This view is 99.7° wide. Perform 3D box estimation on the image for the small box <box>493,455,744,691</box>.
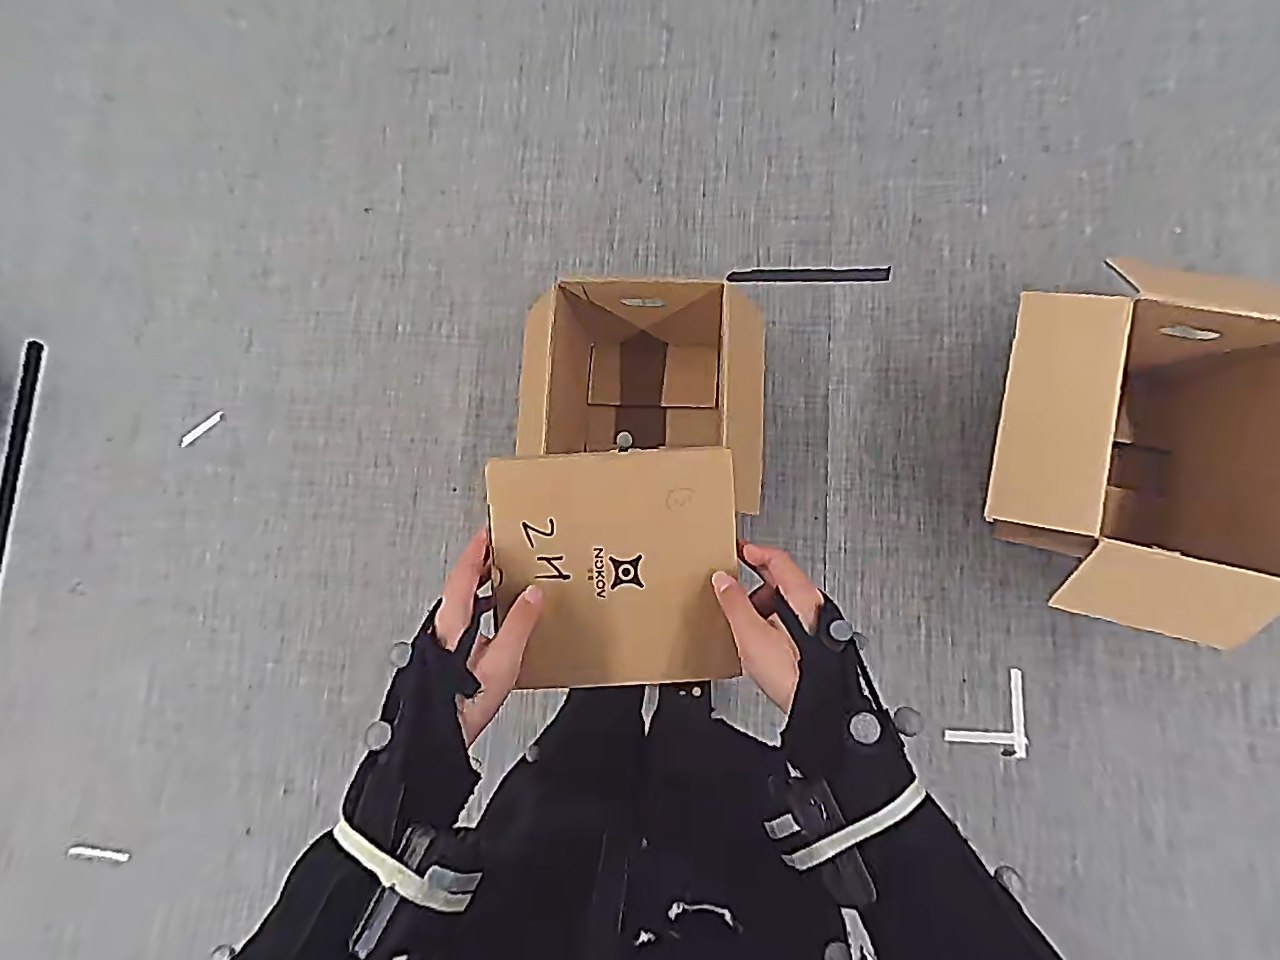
[{"bbox_3d":[-0.015,0.063,0.464,0.179,0.176,0.168,-2,92,1],"label":"small box"}]
